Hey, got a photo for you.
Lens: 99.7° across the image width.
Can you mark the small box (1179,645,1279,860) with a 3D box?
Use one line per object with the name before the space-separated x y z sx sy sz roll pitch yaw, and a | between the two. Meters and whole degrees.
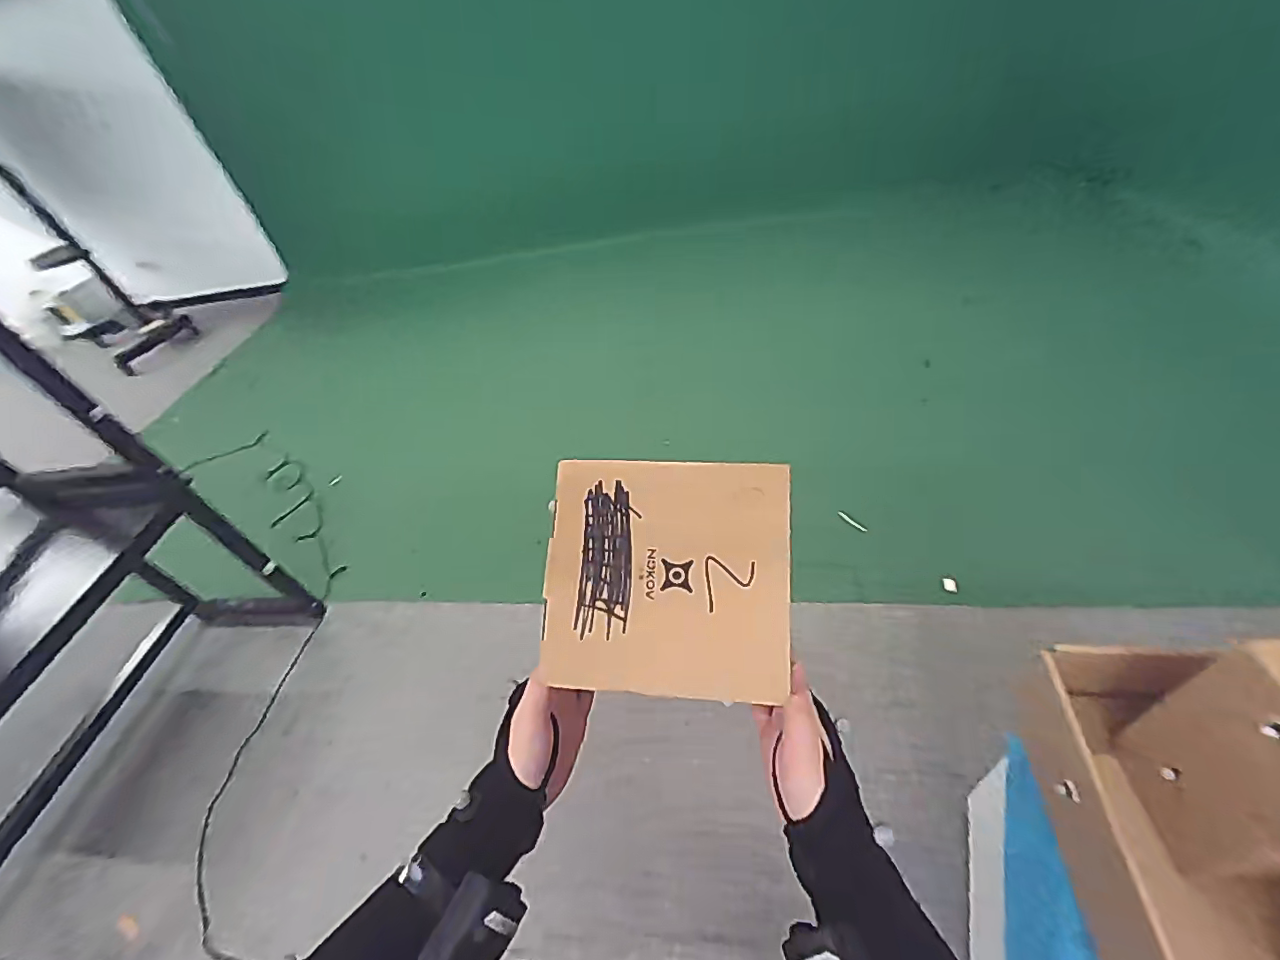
small box | 0.745 0.291 0.569 0.168 0.176 0.179 -5 47 8
